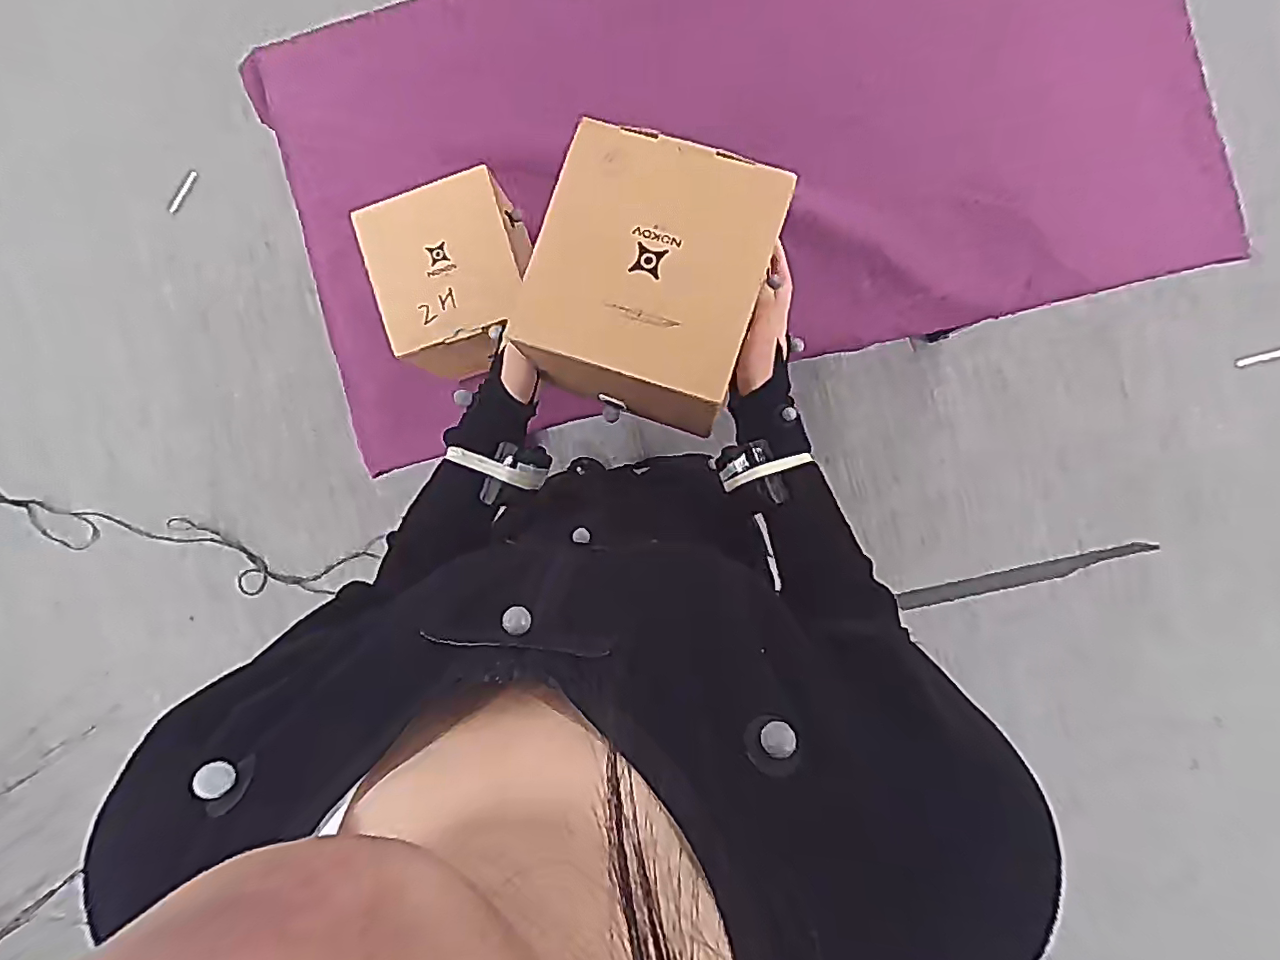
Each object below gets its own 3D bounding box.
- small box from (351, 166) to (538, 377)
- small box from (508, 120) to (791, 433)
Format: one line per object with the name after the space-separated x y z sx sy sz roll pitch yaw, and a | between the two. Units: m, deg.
-0.222 -0.248 0.687 0.168 0.176 0.179 -17 90 4 | small box
0.012 -0.156 0.469 0.168 0.176 0.179 18 88 6 | small box
